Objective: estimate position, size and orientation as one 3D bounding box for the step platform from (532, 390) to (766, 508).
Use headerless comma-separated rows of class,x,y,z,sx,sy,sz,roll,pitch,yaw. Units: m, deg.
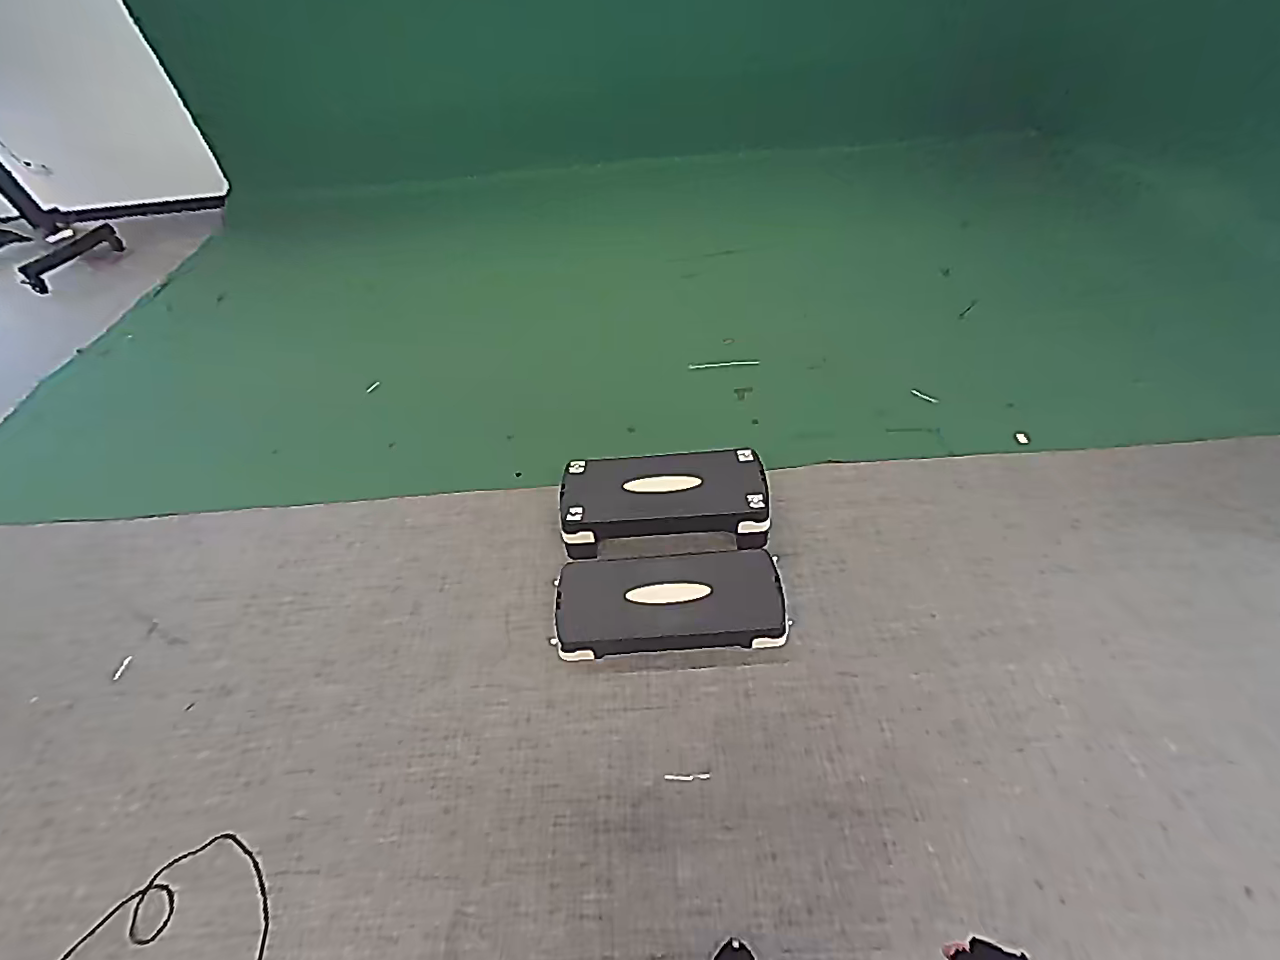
step platform,0.028,-0.093,1.659,0.684,0.204,0.286,-4,49,2
